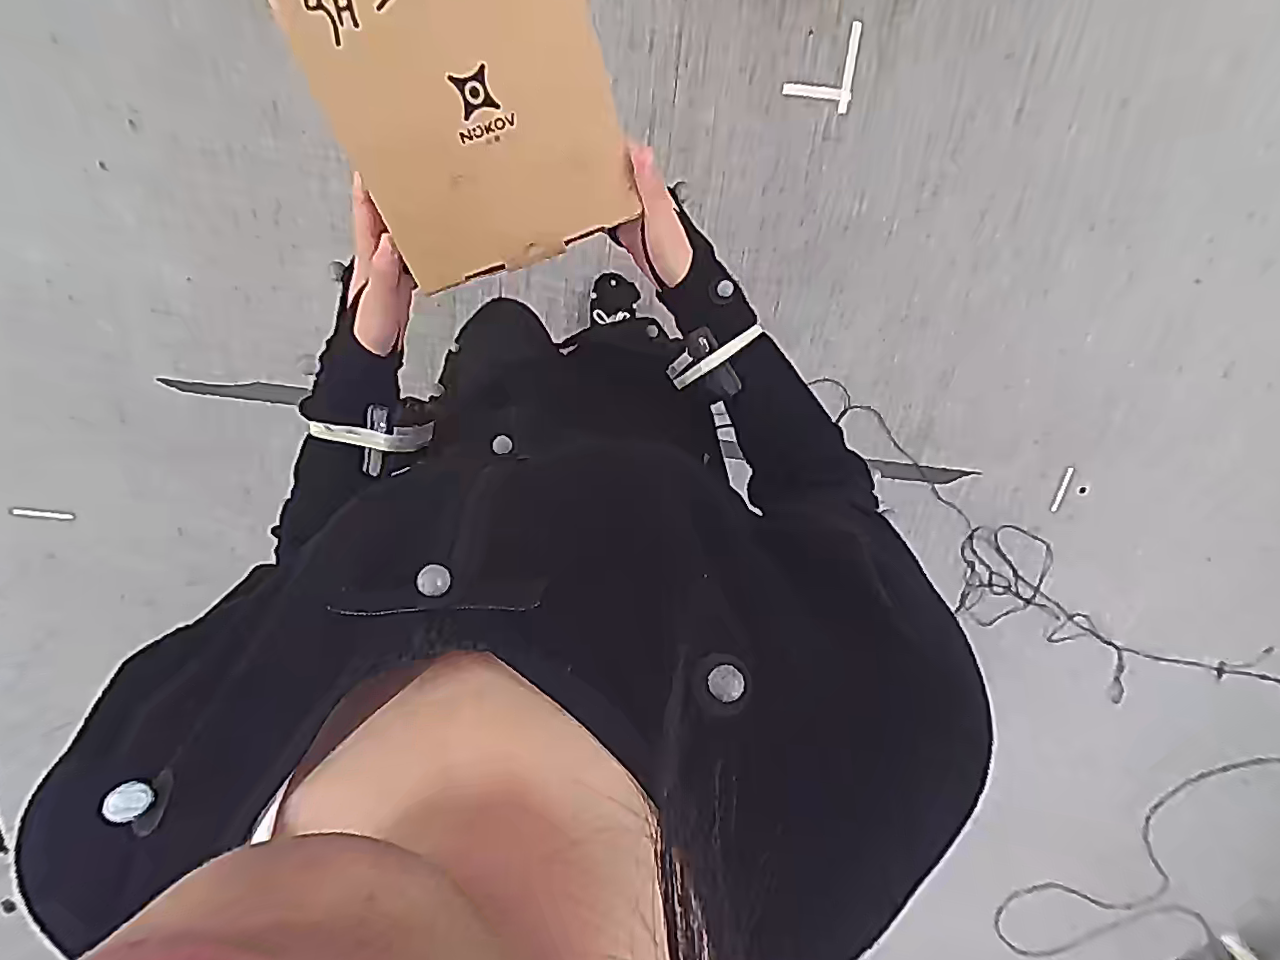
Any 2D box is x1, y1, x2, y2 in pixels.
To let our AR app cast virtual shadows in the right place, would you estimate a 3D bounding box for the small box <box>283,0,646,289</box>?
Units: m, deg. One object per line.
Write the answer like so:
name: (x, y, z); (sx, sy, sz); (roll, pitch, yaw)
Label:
small box: (-0.113, -0.266, 0.391); (0.168, 0.176, 0.179); (-23, 124, -4)
